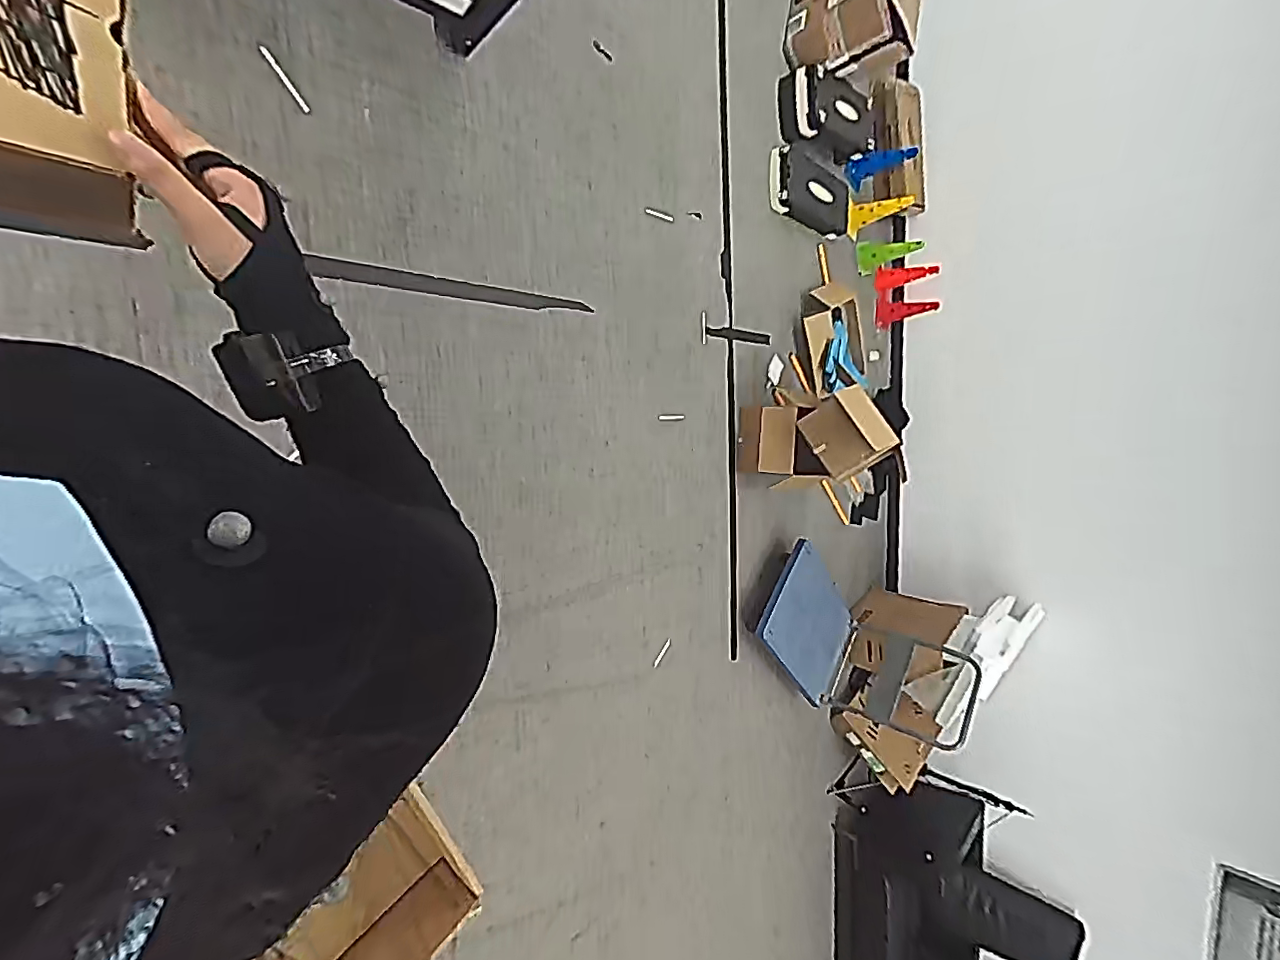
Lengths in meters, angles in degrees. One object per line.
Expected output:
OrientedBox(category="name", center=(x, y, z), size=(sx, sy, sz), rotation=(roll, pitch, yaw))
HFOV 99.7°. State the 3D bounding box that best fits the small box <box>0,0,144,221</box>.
OrientedBox(category="small box", center=(-0.429, -0.279, 0.333), size=(0.179, 0.176, 0.168), rotation=(-2, 98, -43))
